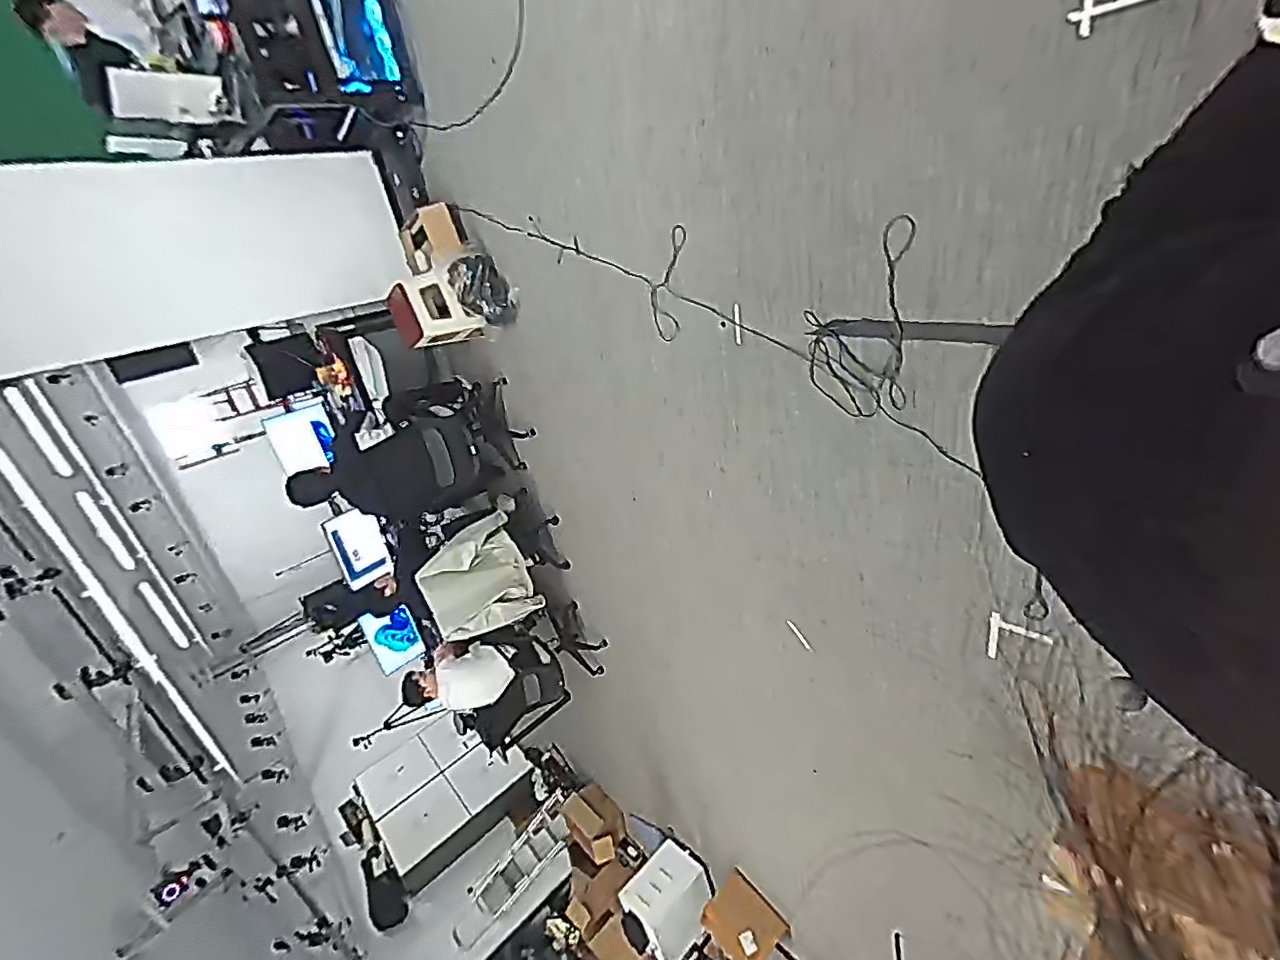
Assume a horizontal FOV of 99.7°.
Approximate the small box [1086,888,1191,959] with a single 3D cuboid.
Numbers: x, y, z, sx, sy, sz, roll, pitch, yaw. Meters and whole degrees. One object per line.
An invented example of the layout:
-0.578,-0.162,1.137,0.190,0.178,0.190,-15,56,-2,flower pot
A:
1.196,1.157,1.309,0.168,0.176,0.179,16,125,46,small box
